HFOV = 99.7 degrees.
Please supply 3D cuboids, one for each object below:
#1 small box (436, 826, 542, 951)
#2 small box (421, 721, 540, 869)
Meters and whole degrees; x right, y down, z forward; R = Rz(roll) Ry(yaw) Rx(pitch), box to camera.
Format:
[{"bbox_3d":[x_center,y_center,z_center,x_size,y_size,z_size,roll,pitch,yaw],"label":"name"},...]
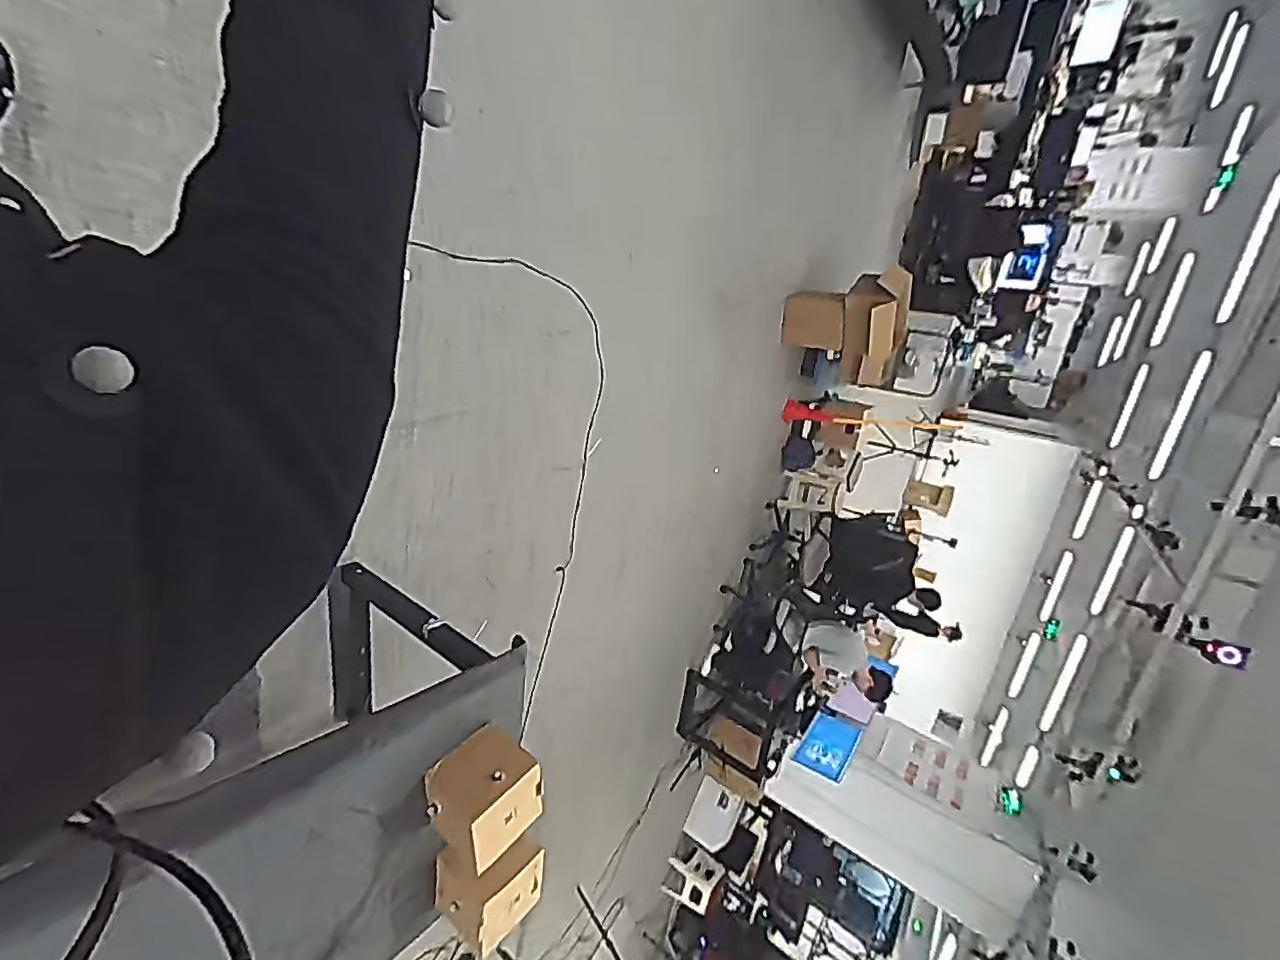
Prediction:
[{"bbox_3d":[-0.354,0.912,1.257,0.179,0.176,0.168,-16,119,-52],"label":"small box"},{"bbox_3d":[-0.336,0.656,1.151,0.179,0.176,0.168,-27,127,-46],"label":"small box"}]
